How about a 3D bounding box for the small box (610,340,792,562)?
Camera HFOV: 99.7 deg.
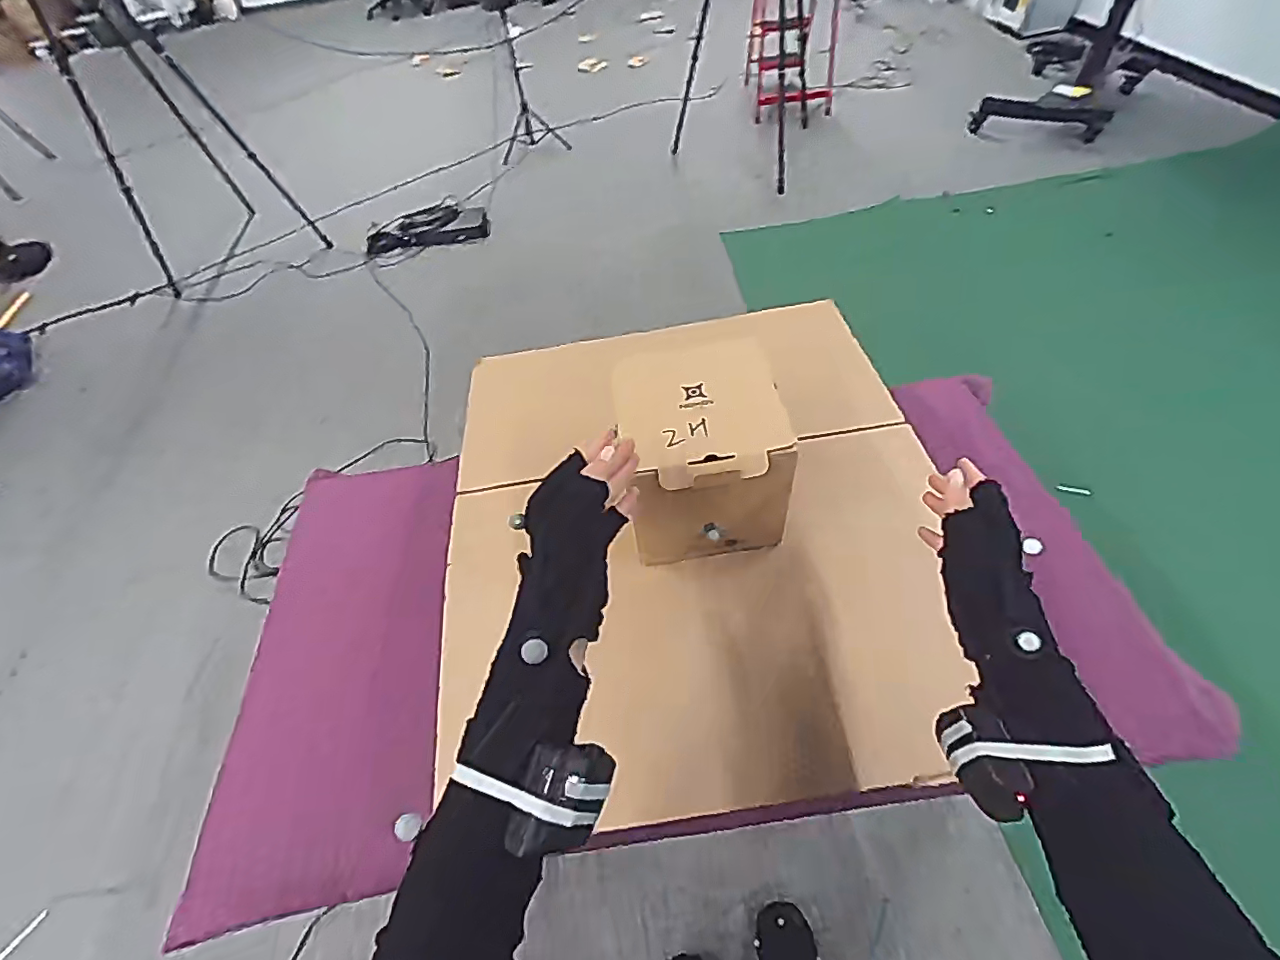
[{"bbox_3d":[0.061,-0.030,0.620,0.168,0.176,0.179,-9,52,1],"label":"small box"}]
